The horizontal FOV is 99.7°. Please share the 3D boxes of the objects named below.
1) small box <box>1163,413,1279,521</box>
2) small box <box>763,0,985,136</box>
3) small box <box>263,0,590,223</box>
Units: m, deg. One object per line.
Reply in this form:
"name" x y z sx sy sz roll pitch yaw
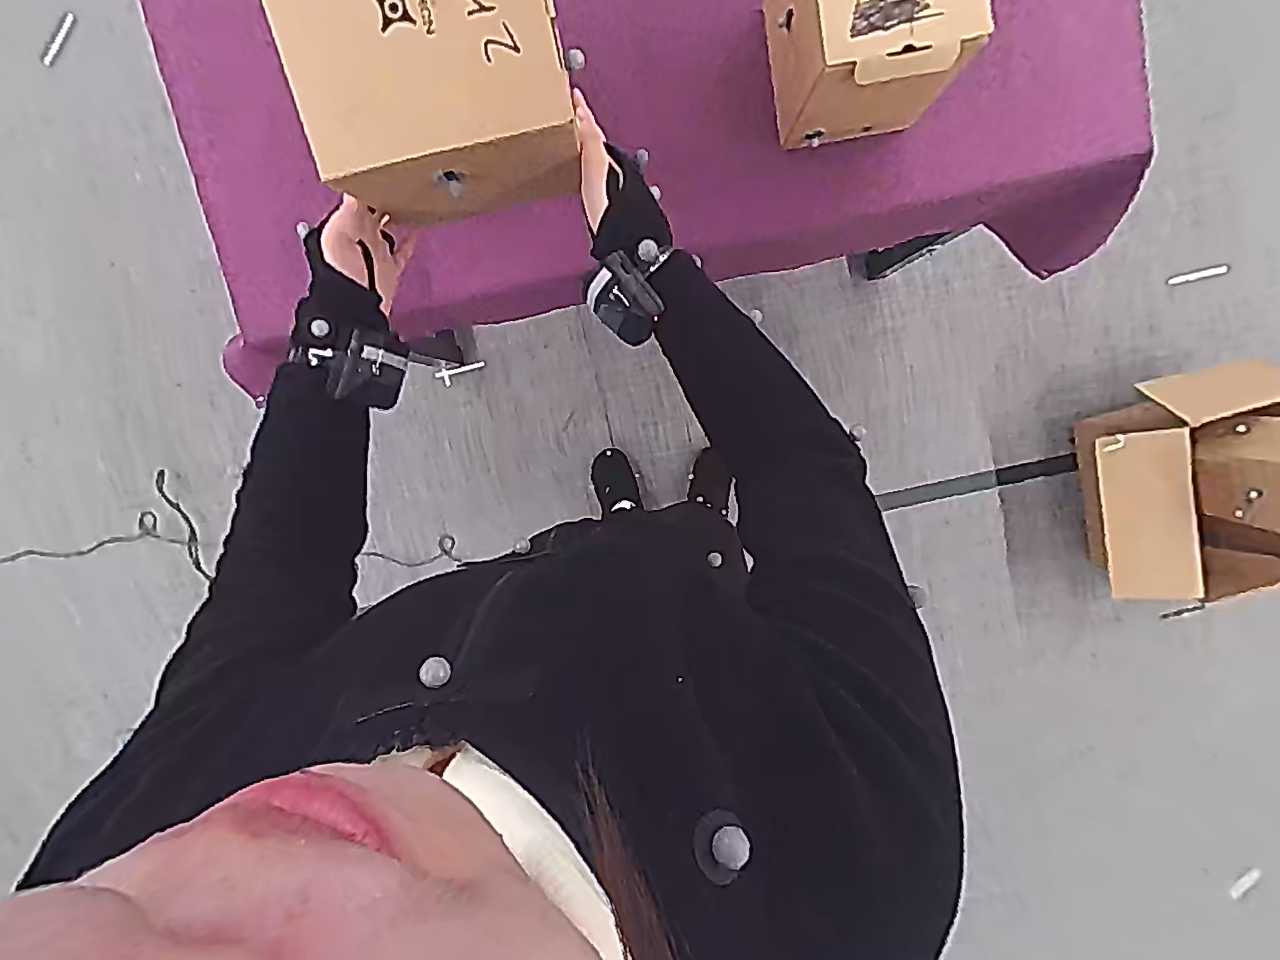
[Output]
"small box" 1.344 -0.039 1.210 0.168 0.176 0.179 -34 100 6
"small box" 0.243 -0.513 0.597 0.168 0.176 0.179 -10 96 1
"small box" -0.144 -0.311 0.411 0.179 0.176 0.168 -12 105 2
